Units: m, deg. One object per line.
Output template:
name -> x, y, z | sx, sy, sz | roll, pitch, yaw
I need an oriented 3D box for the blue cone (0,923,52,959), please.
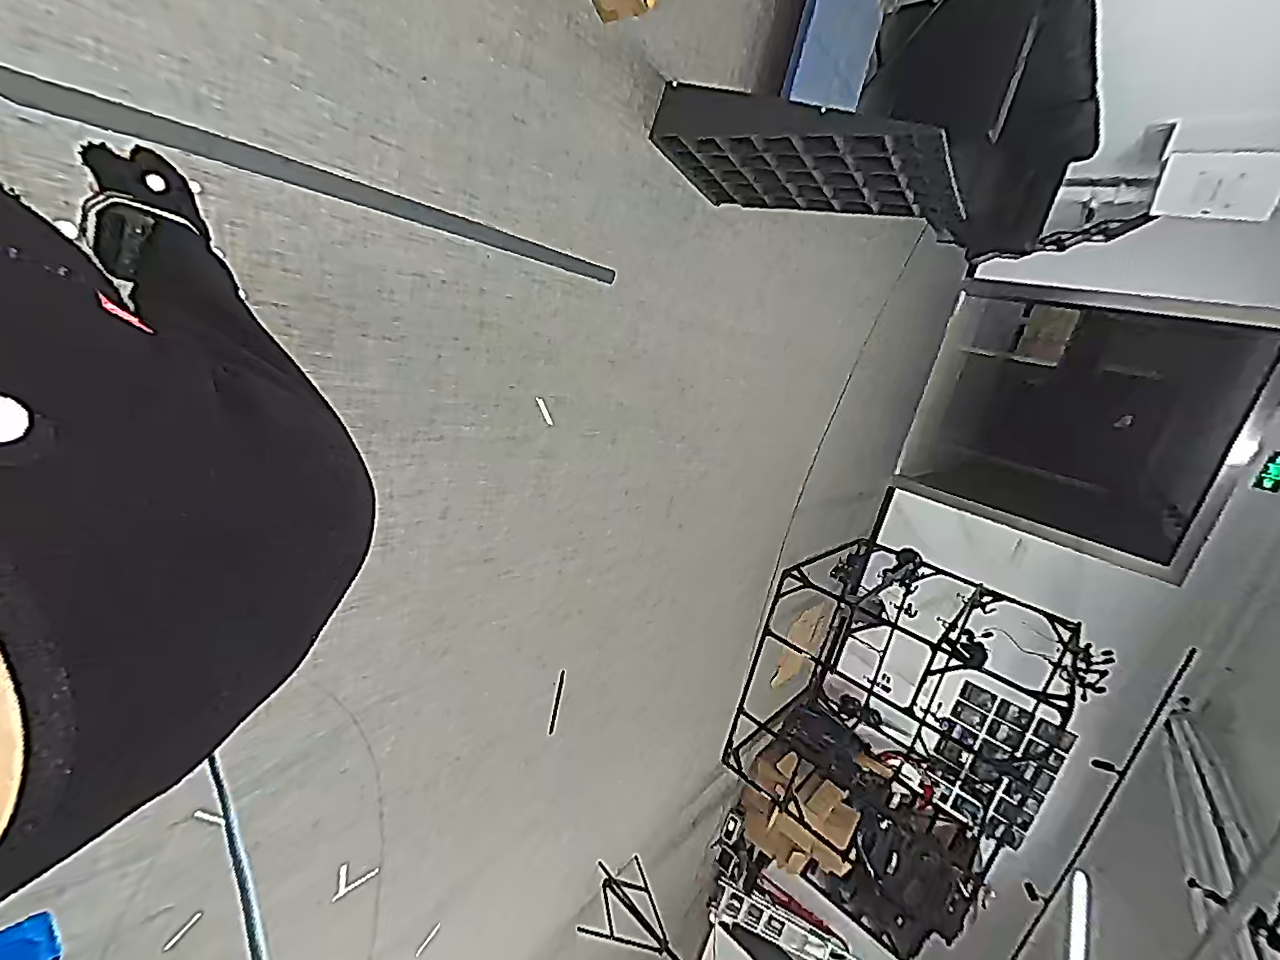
blue cone -> -1.417, 1.228, 1.189 | 0.192, 0.380, 0.193 | -11, 119, -50
